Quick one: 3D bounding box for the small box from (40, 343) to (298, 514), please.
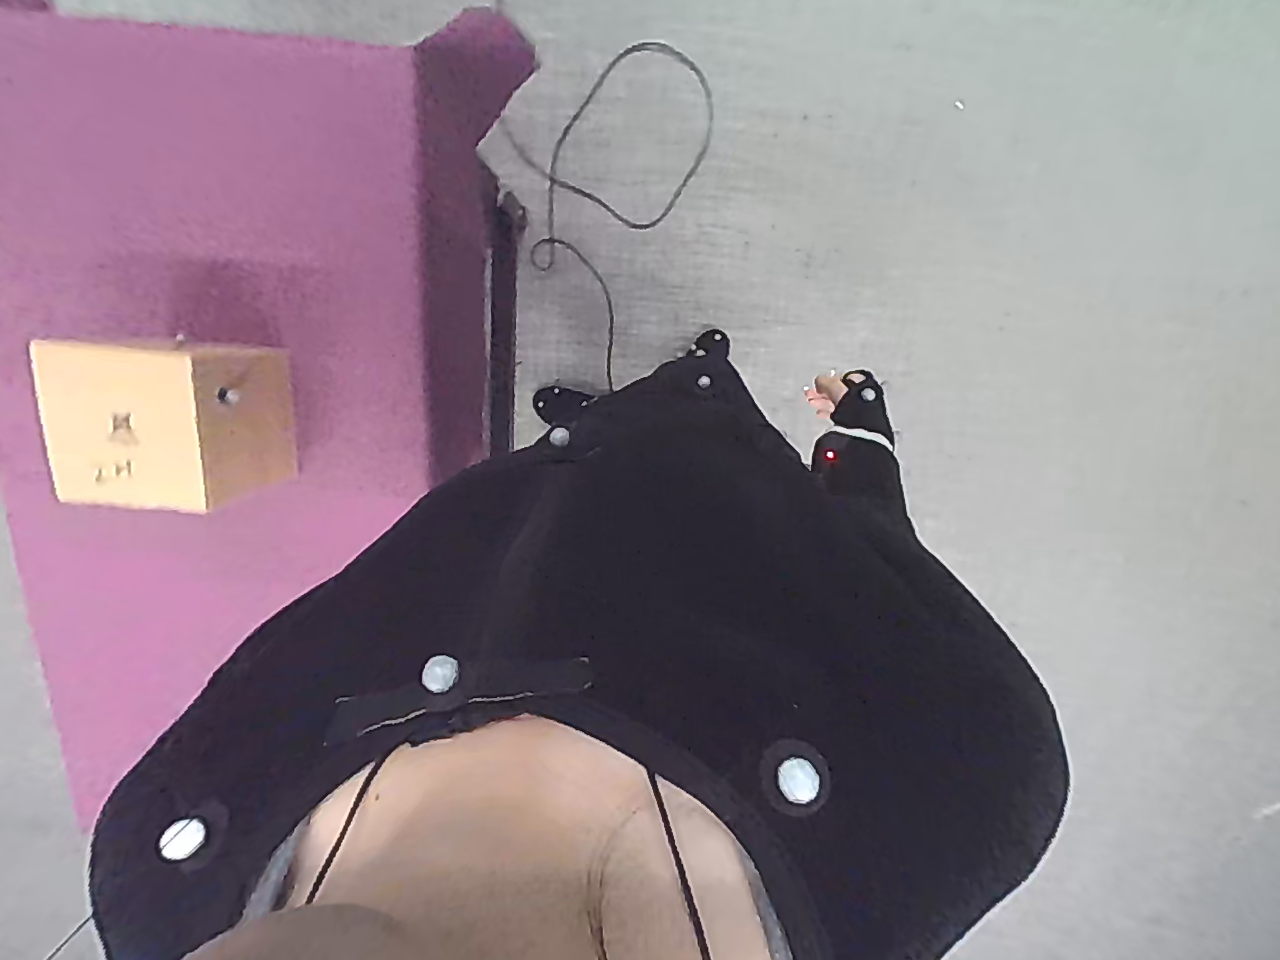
[{"bbox_3d":[-0.553,-0.072,0.664,0.168,0.176,0.179,5,105,-1],"label":"small box"}]
